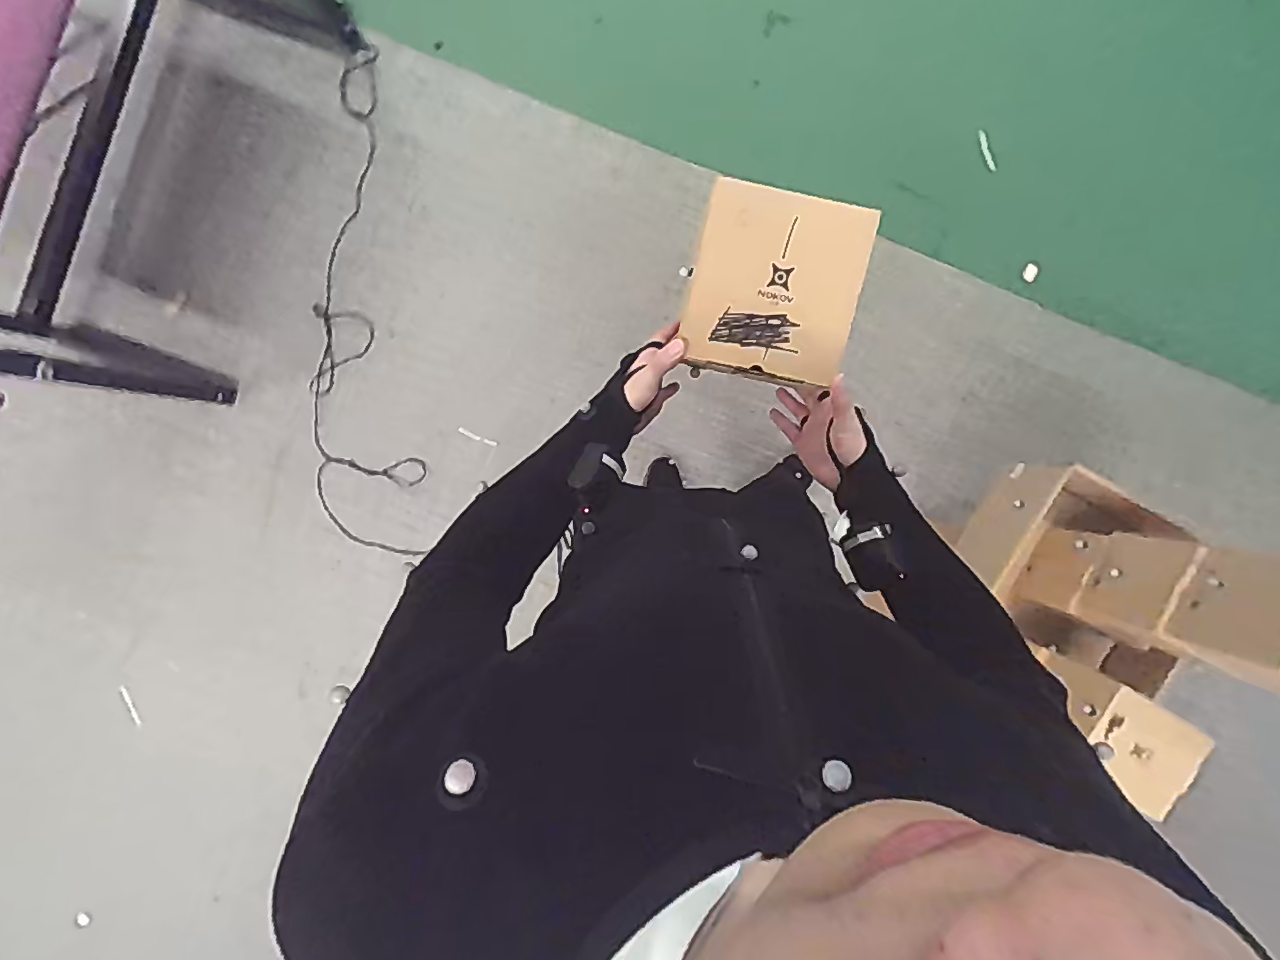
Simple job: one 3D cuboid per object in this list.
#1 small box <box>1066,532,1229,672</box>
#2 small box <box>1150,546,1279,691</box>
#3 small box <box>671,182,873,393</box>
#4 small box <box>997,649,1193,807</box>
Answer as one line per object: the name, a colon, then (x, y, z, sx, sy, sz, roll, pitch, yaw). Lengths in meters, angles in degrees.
small box: (0.938, 0.207, 0.973, 0.179, 0.176, 0.168, 26, 93, -1)
small box: (0.948, 0.215, 0.810, 0.179, 0.176, 0.168, 28, 93, -1)
small box: (0.132, -0.206, 0.617, 0.168, 0.176, 0.179, 11, 102, -2)
small box: (0.817, 0.439, 0.990, 0.179, 0.176, 0.168, 31, 93, -1)
